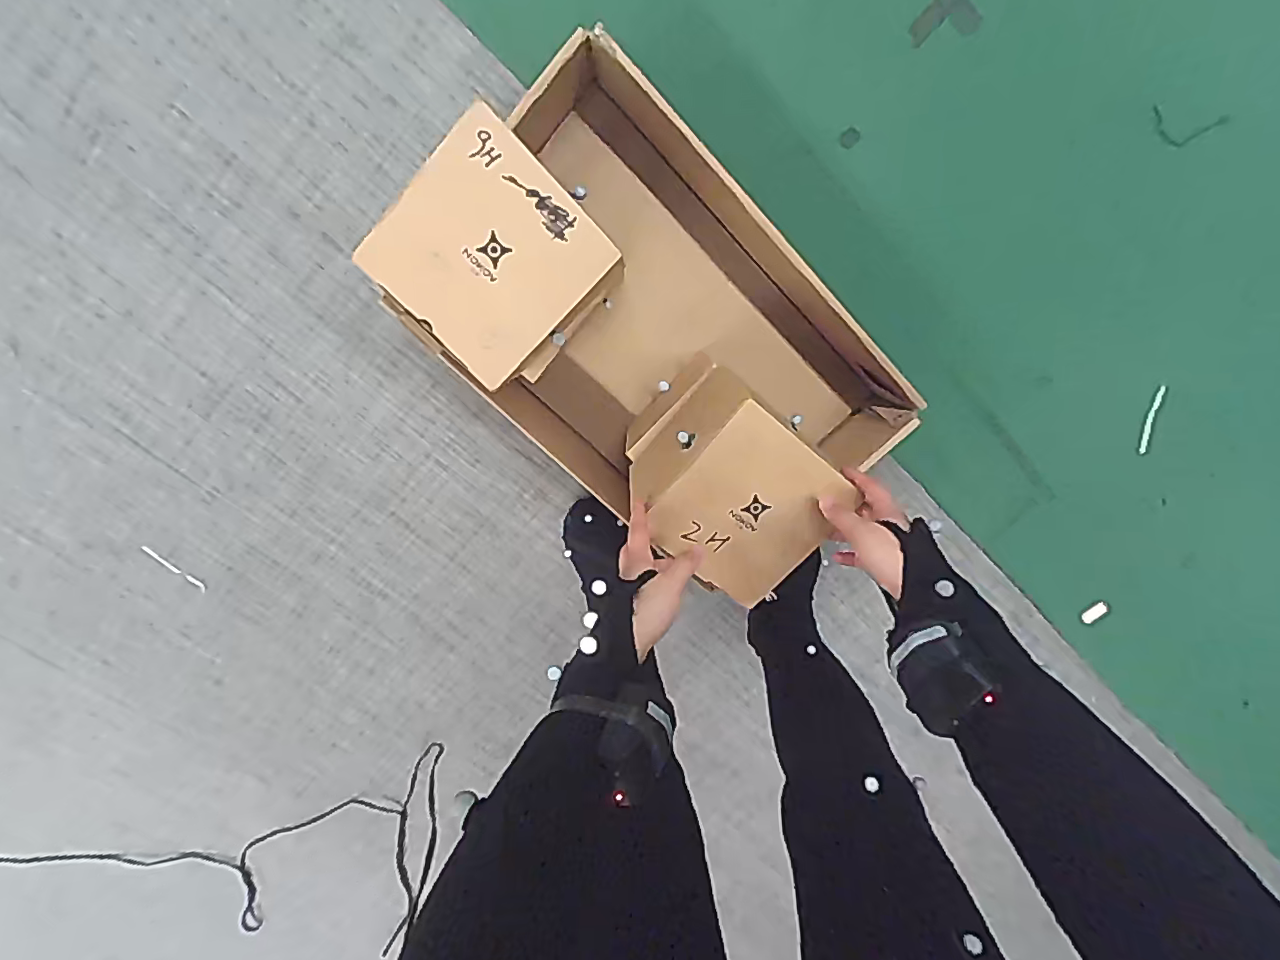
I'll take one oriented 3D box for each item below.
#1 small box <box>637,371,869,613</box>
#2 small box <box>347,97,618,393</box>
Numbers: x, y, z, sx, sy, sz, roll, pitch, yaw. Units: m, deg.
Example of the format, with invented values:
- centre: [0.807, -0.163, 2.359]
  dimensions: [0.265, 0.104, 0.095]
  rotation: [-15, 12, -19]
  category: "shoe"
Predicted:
- centre: [0.106, 0.003, 0.603]
  dimensions: [0.168, 0.176, 0.179]
  rotation: [37, 108, -16]
  category: "small box"
- centre: [-0.134, -0.214, 0.533]
  dimensions: [0.179, 0.176, 0.168]
  rotation: [-43, 104, 13]
  category: "small box"
